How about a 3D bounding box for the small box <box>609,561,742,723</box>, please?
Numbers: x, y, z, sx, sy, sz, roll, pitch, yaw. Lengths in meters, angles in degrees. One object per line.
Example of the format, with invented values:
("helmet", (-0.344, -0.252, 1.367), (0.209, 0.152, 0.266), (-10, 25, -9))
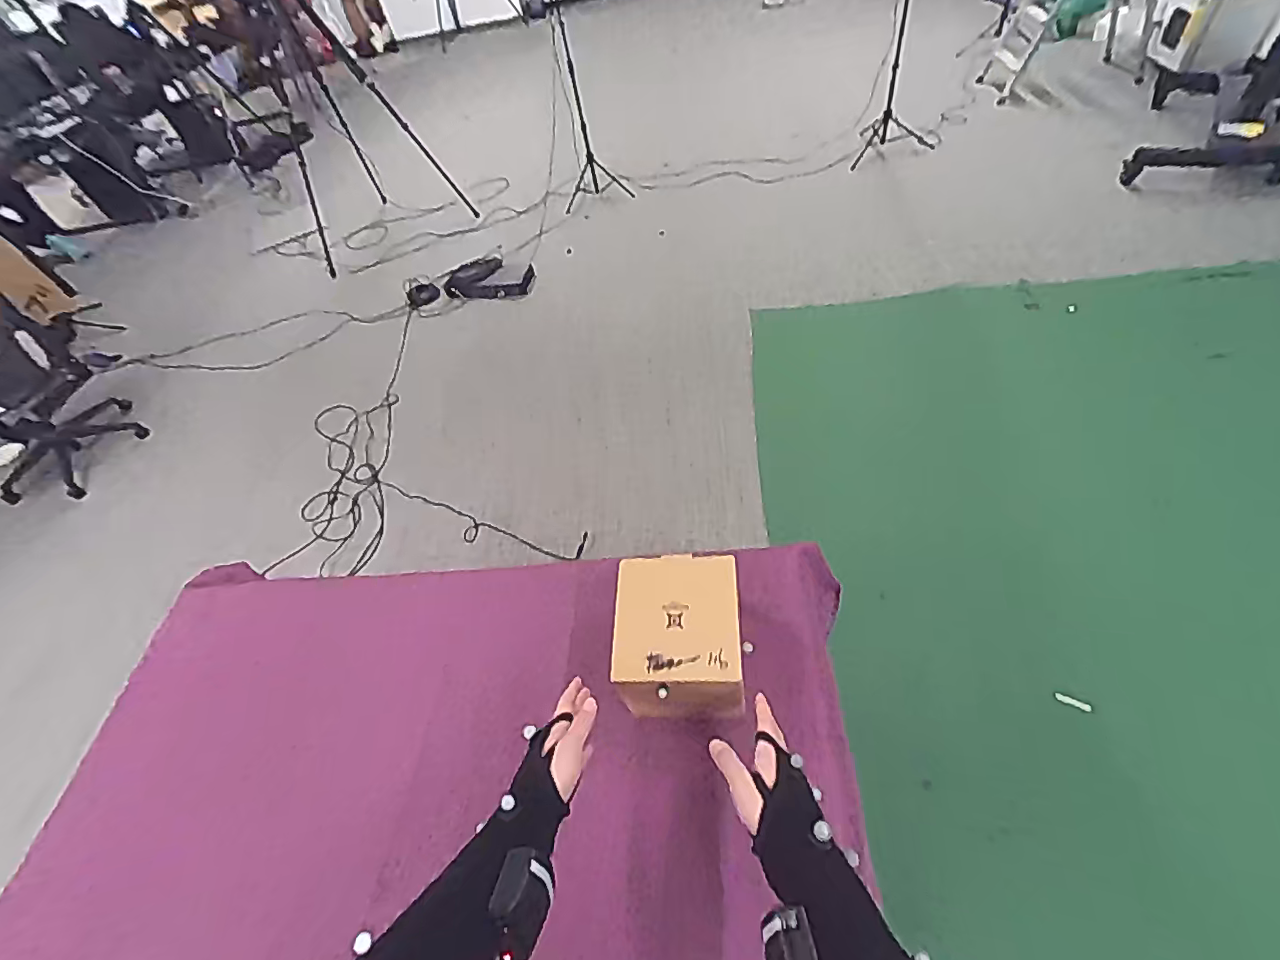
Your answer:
("small box", (0.060, 0.234, 0.777), (0.168, 0.176, 0.179), (-3, 52, 10))
